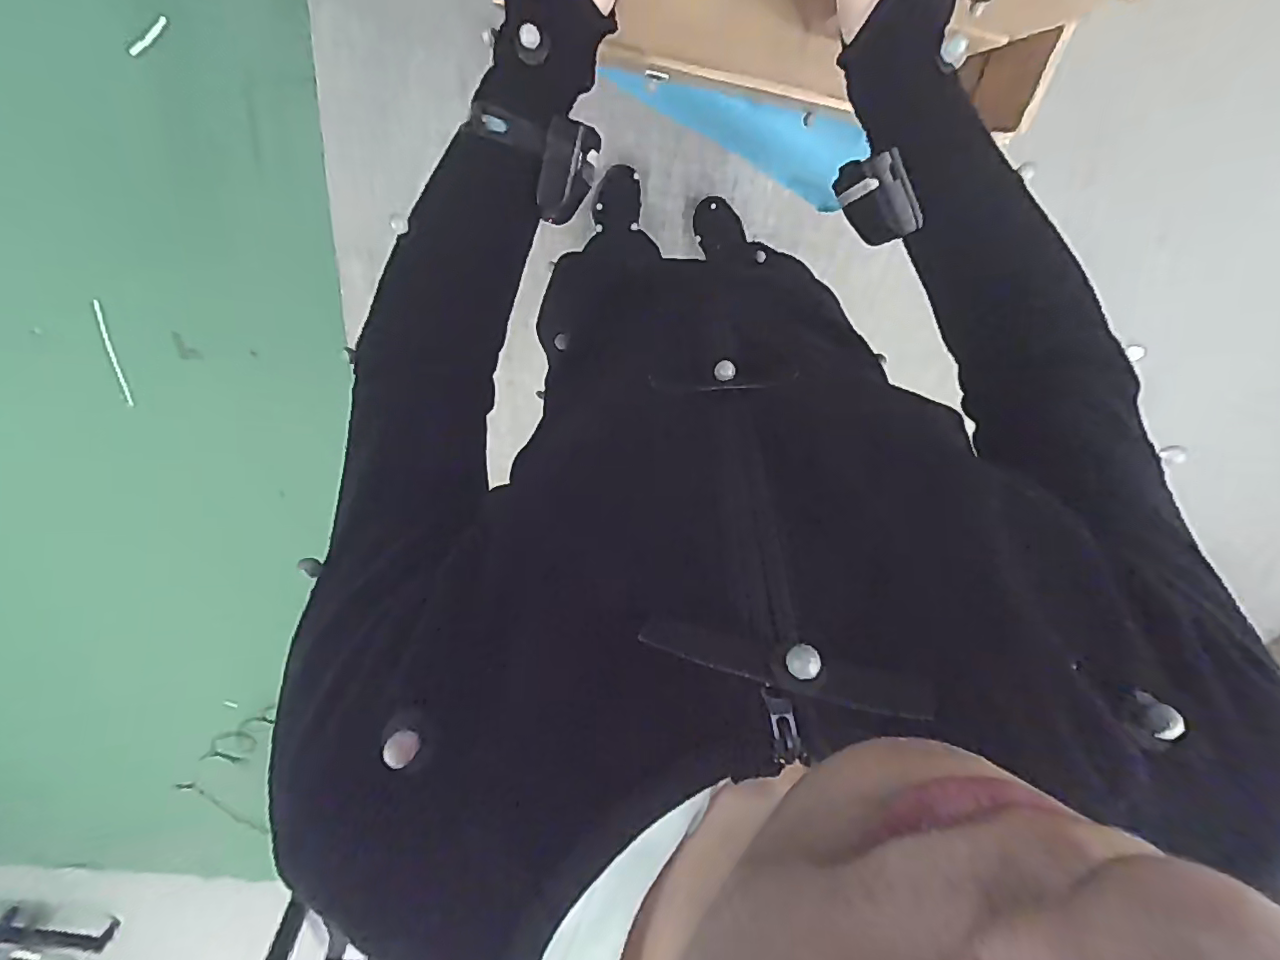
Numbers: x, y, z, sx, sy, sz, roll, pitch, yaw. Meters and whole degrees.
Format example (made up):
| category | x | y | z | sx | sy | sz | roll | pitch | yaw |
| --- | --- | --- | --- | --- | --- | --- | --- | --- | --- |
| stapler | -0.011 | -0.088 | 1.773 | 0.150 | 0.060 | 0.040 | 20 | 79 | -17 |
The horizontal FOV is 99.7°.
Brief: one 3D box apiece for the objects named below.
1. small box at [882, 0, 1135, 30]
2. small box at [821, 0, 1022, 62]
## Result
| category | x | y | z | sx | sy | sz | roll | pitch | yaw |
| --- | --- | --- | --- | --- | --- | --- | --- | --- | --- |
| small box | 0.321 | -0.493 | 0.433 | 0.179 | 0.176 | 0.168 | 9 | 119 | -5 |
| small box | 0.318 | -0.574 | 0.575 | 0.179 | 0.176 | 0.168 | 10 | 120 | -6 |
